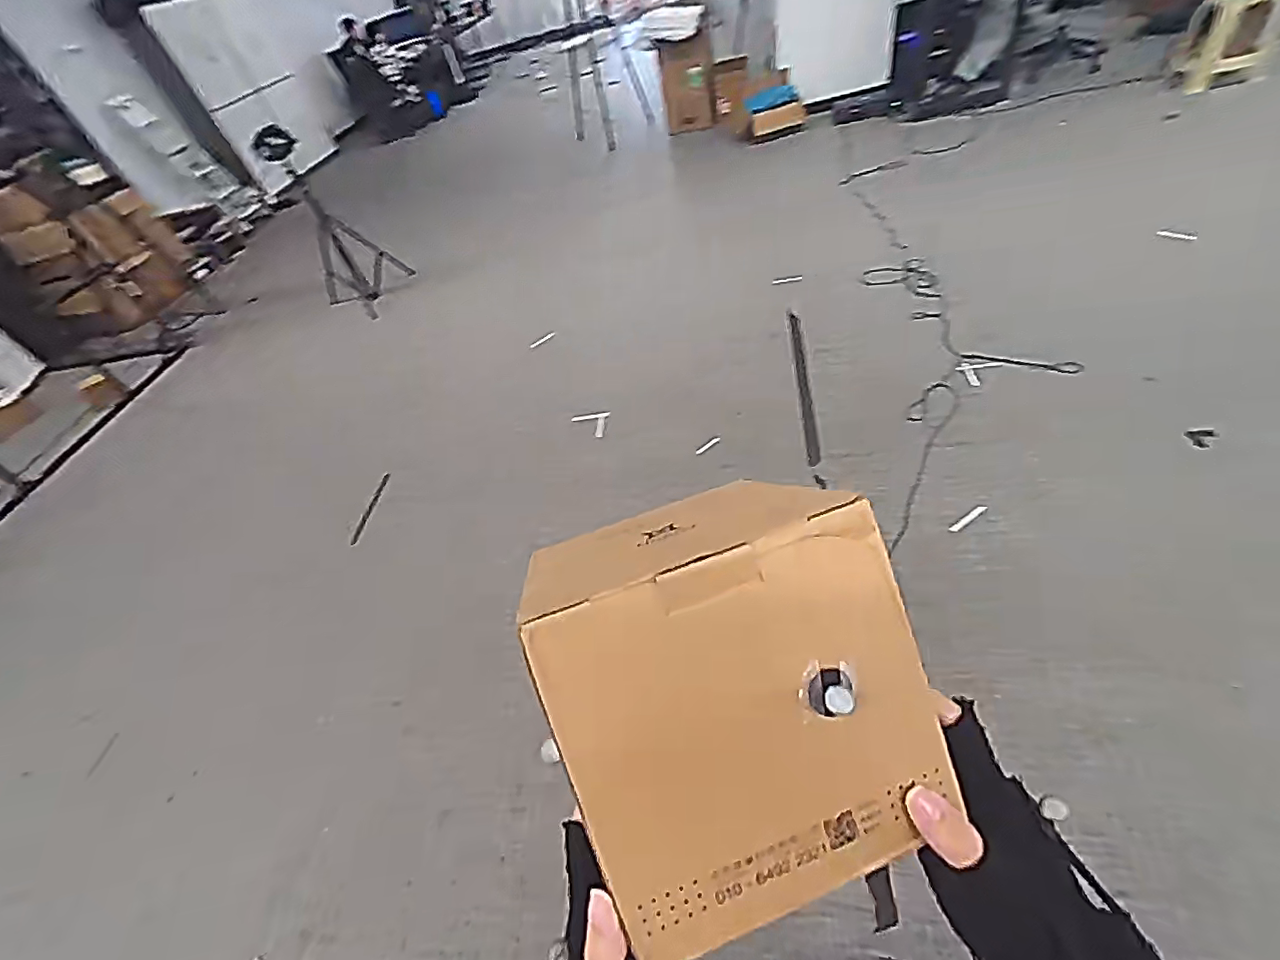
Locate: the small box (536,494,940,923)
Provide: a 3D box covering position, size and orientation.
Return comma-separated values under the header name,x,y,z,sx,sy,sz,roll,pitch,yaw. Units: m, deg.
name,x,y,z,sx,sy,sz,roll,pitch,yaw
small box,0.045,0.119,0.335,0.168,0.176,0.179,-19,4,-6
